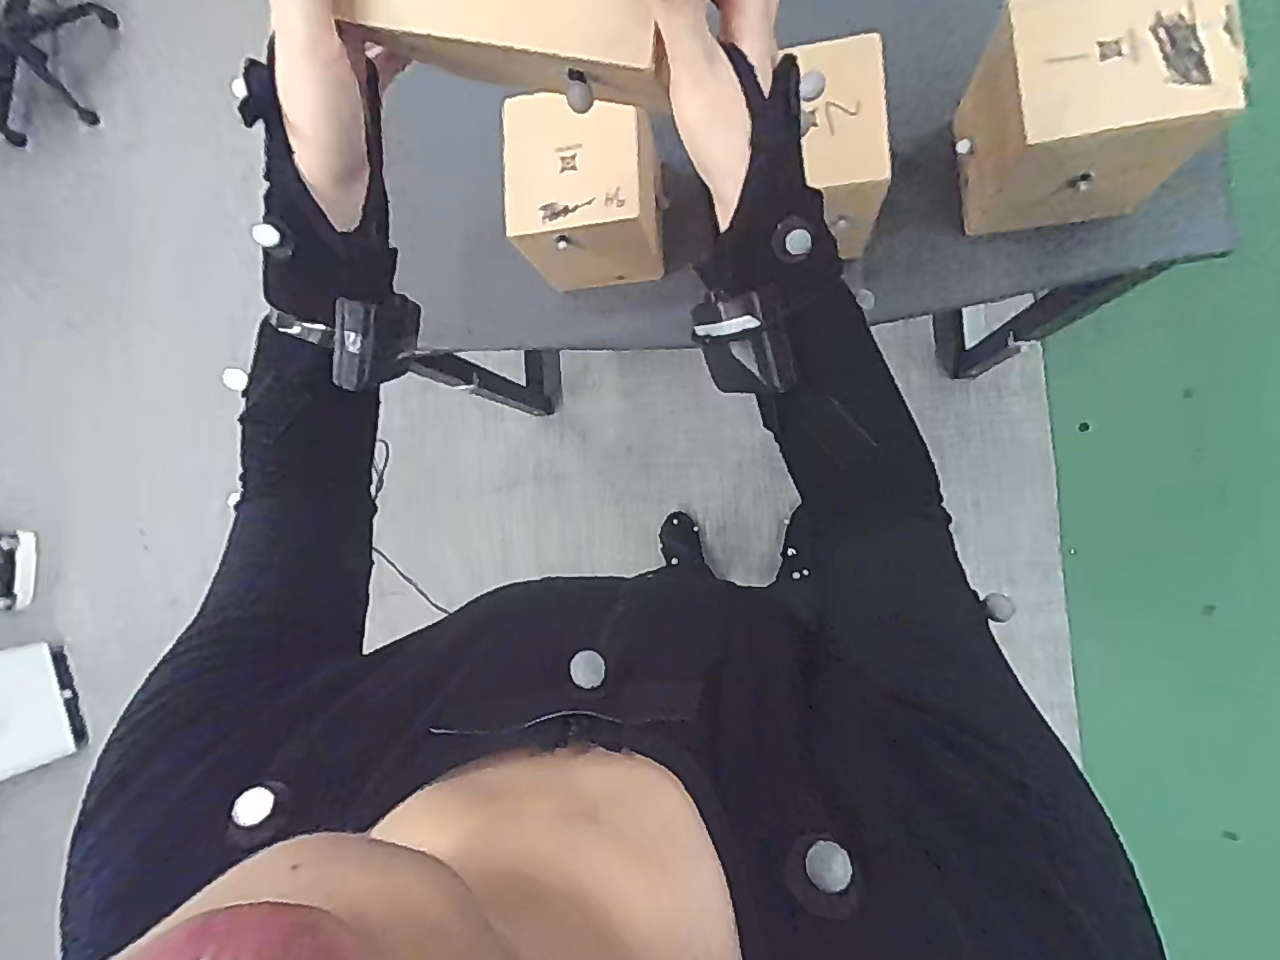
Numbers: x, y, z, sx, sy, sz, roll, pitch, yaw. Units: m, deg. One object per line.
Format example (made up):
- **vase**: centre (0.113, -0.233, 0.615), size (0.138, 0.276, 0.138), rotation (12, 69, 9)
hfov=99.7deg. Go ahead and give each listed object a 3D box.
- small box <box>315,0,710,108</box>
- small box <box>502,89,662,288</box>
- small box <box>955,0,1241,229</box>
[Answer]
- **small box**: centre (-0.046, -0.314, 0.286), size (0.179, 0.176, 0.168), rotation (14, 120, 5)
- **small box**: centre (-0.067, -0.375, 0.707), size (0.168, 0.176, 0.179), rotation (-2, 86, 14)
- **small box**: centre (0.467, -0.399, 0.583), size (0.179, 0.176, 0.168), rotation (-3, 84, 14)
